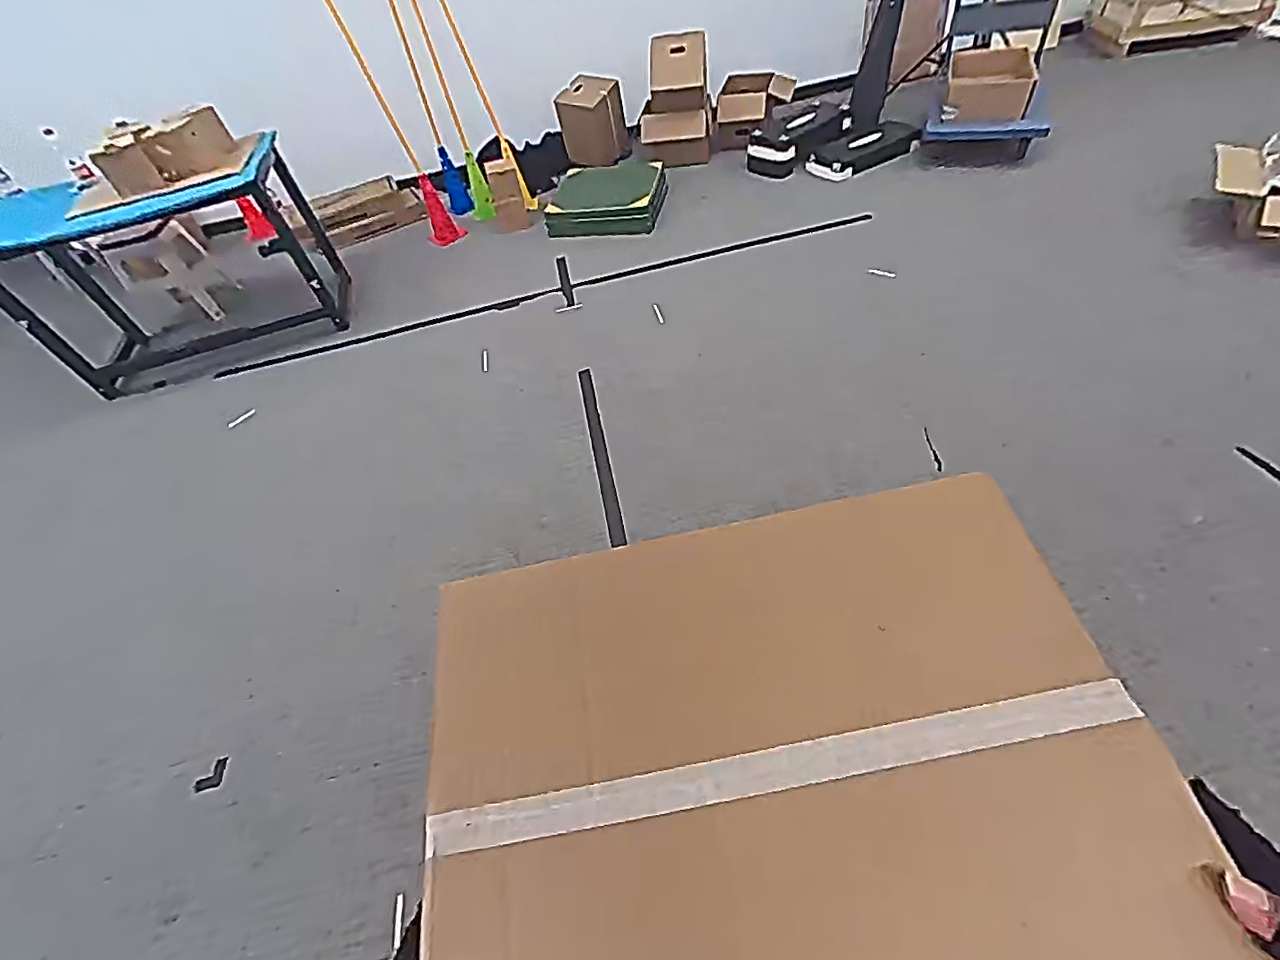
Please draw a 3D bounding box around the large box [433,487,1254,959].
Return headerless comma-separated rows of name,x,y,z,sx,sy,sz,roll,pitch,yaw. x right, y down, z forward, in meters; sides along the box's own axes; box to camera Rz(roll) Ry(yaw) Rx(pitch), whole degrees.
large box,0.096,0.250,0.442,0.408,0.320,0.320,-13,57,2
